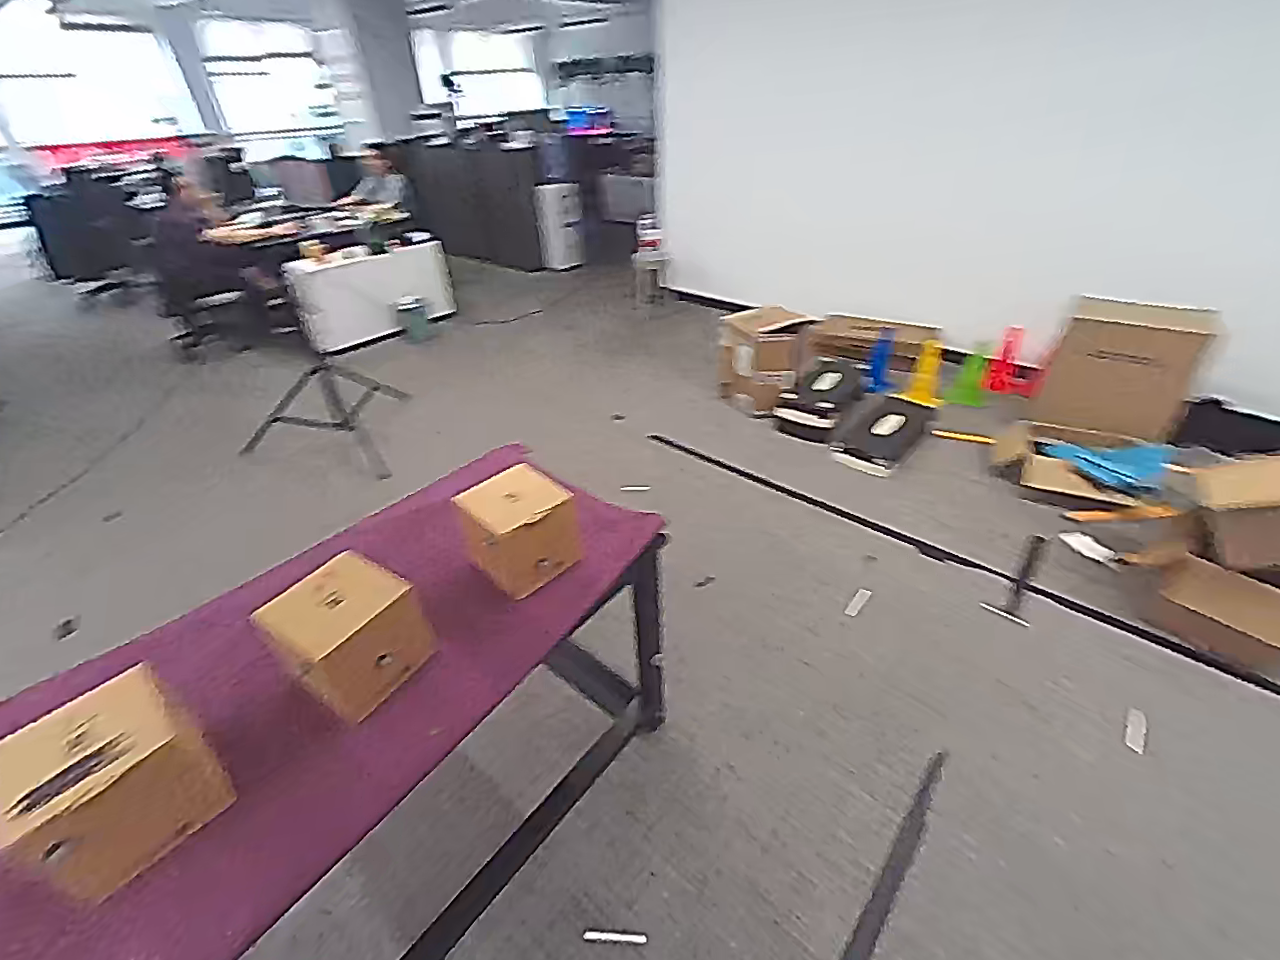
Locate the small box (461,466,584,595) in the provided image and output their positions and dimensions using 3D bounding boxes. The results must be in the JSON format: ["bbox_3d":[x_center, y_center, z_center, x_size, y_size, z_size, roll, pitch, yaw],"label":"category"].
[{"bbox_3d":[-0.234,0.101,1.099,0.168,0.176,0.179,-32,44,-34],"label":"small box"}]

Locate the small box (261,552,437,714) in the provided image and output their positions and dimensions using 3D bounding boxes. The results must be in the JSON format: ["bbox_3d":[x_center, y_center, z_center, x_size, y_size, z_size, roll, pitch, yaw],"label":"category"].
[{"bbox_3d":[-0.470,0.255,0.899,0.179,0.176,0.168,18,40,27],"label":"small box"}]
